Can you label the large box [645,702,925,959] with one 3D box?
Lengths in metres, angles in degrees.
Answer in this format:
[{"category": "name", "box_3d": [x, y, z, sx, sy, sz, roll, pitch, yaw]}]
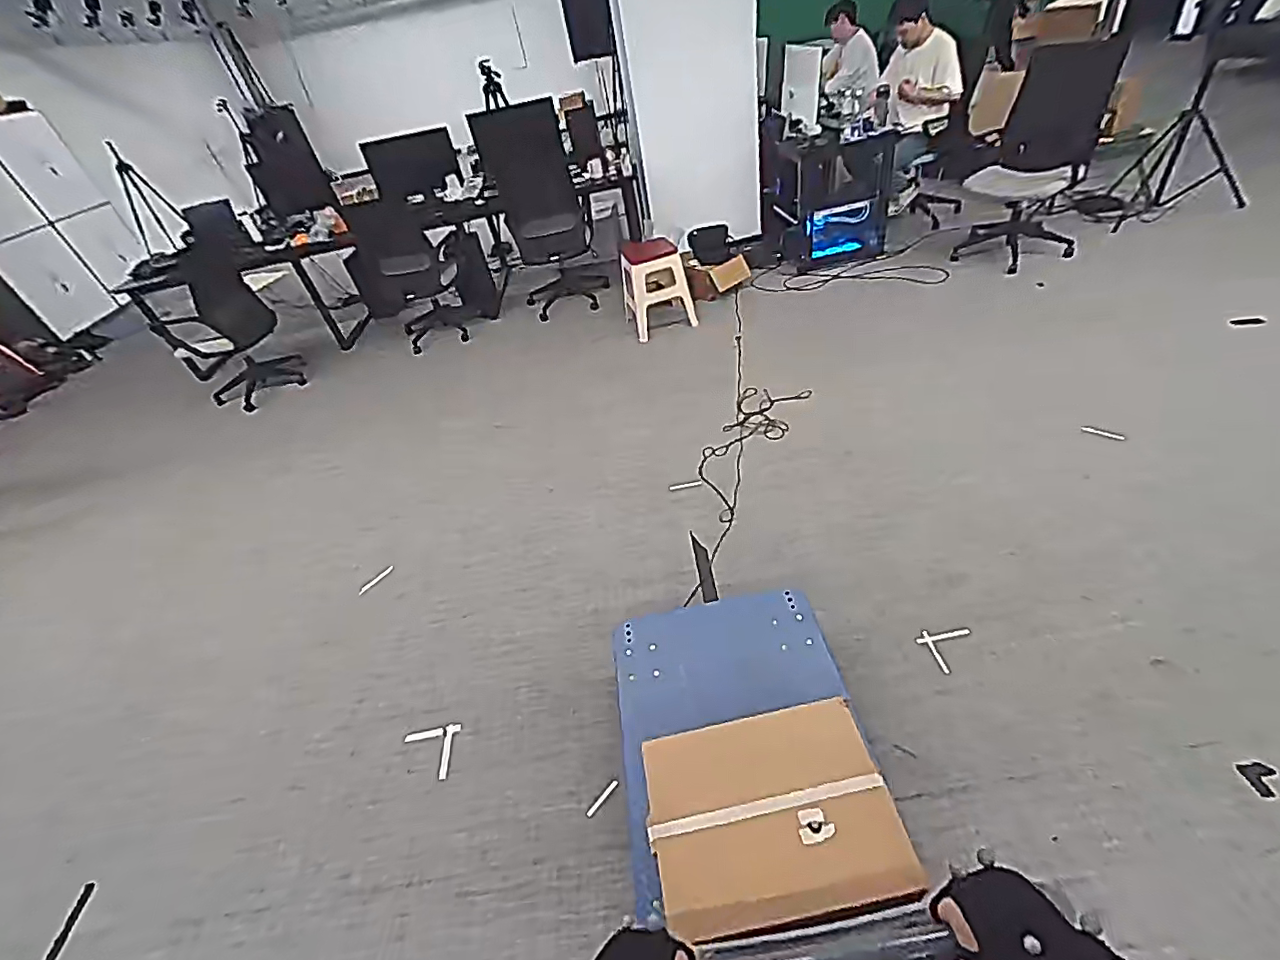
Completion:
[{"category": "large box", "box_3d": [0.250, 0.687, 1.035, 0.408, 0.320, 0.320, -13, 41, 0]}]
